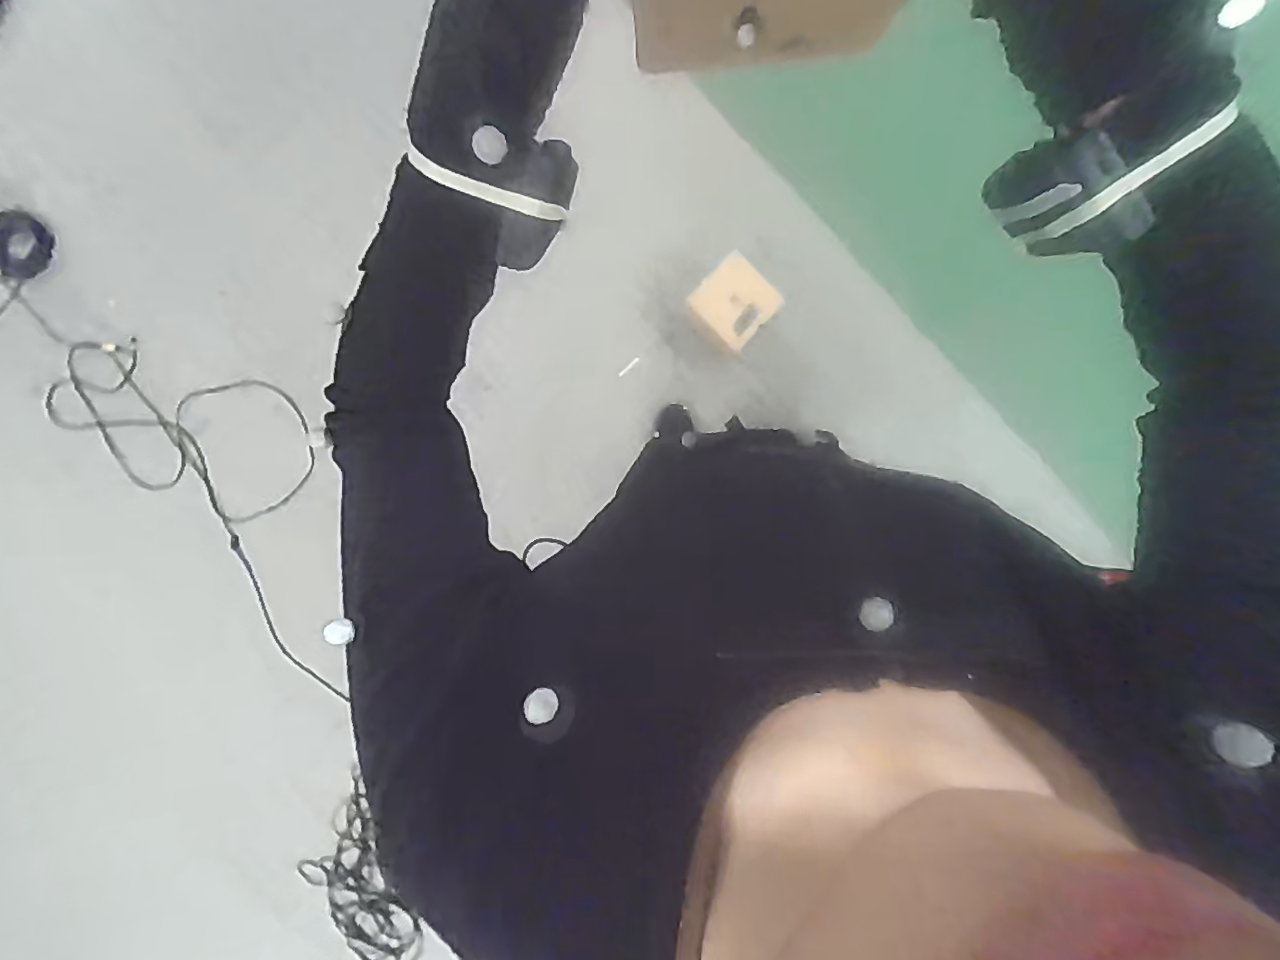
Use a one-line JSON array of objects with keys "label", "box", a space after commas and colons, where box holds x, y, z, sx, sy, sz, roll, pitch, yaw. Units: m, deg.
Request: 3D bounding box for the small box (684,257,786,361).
[{"label": "small box", "box": [0.226, -0.411, 1.336, 0.179, 0.176, 0.168, 44, 96, -2]}]
